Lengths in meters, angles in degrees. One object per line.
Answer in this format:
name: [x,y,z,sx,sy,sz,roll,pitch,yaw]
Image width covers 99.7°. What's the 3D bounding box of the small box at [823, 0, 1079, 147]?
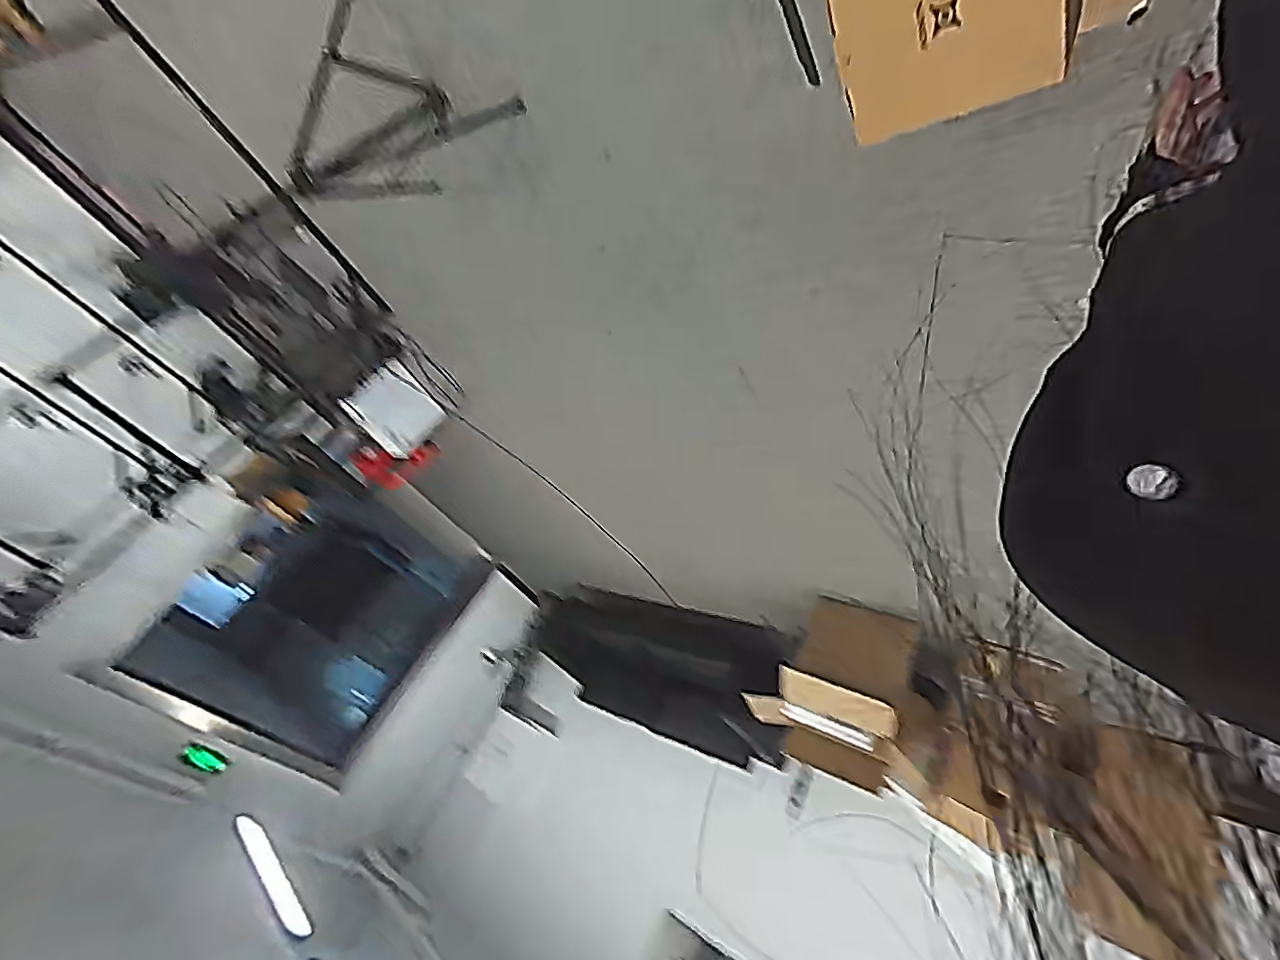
small box: [0.292,-0.456,0.498,0.179,0.176,0.168,5,142,42]
